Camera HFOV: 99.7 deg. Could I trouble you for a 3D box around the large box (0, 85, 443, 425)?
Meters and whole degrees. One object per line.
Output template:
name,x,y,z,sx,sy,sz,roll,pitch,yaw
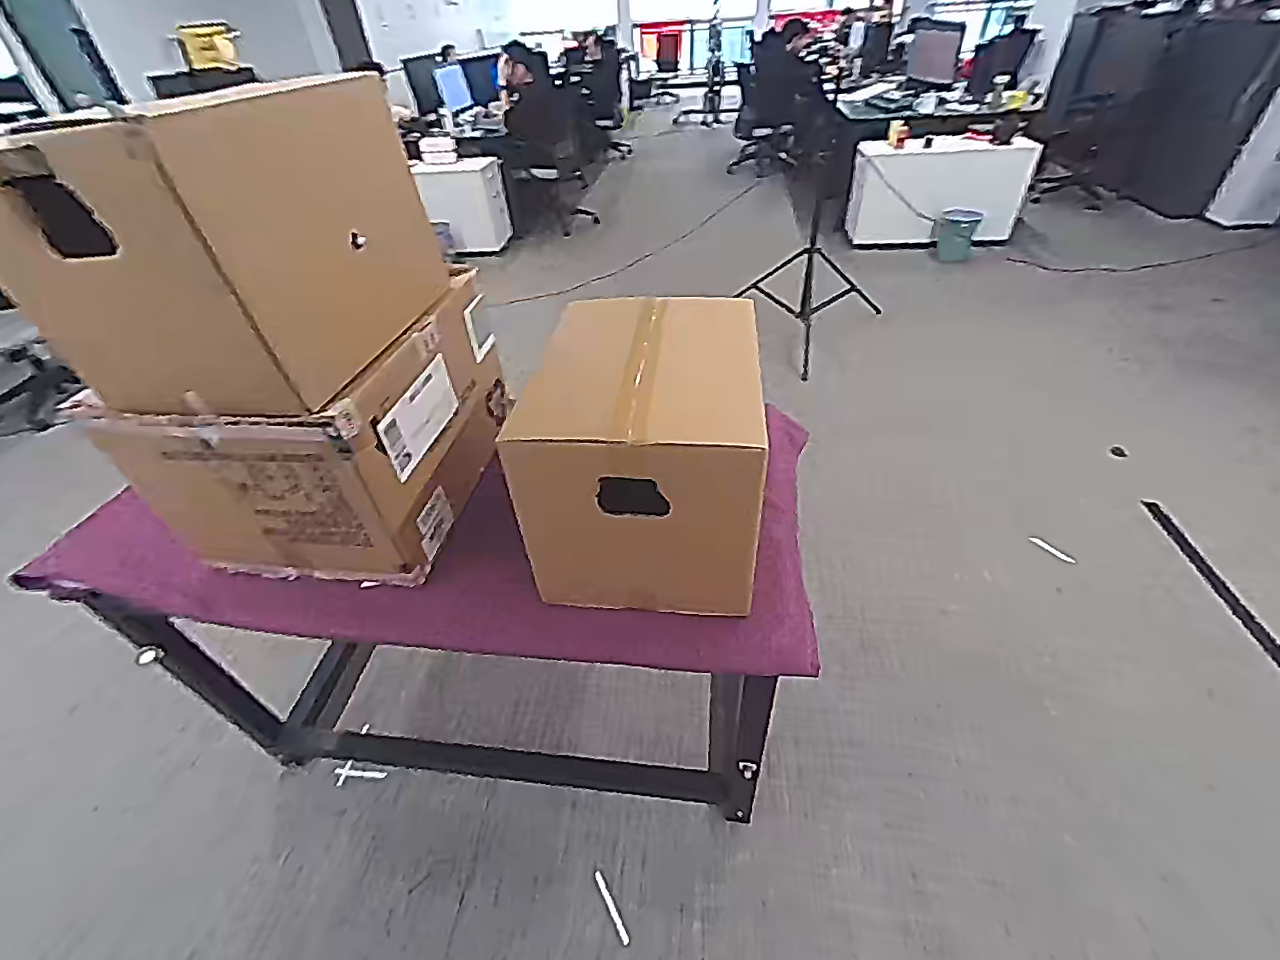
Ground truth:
large box,-0.533,-0.317,0.745,0.320,0.320,0.408,0,41,11
